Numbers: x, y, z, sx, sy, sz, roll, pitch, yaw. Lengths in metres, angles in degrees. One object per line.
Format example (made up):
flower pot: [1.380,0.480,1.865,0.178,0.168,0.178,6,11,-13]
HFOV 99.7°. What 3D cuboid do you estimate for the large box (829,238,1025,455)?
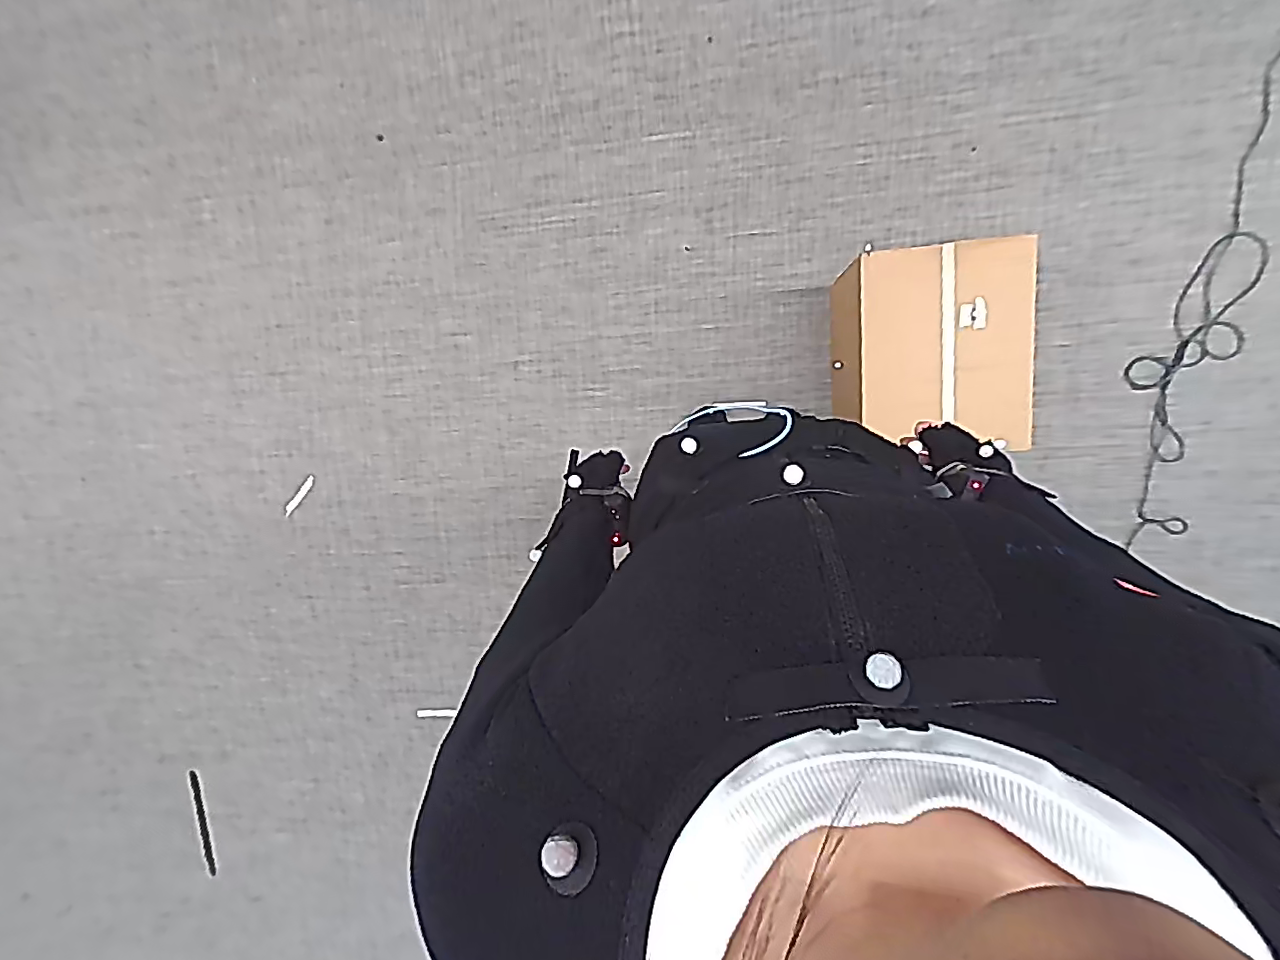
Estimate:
large box: [0.615,-0.272,1.214,0.320,0.320,0.408,-3,96,8]
